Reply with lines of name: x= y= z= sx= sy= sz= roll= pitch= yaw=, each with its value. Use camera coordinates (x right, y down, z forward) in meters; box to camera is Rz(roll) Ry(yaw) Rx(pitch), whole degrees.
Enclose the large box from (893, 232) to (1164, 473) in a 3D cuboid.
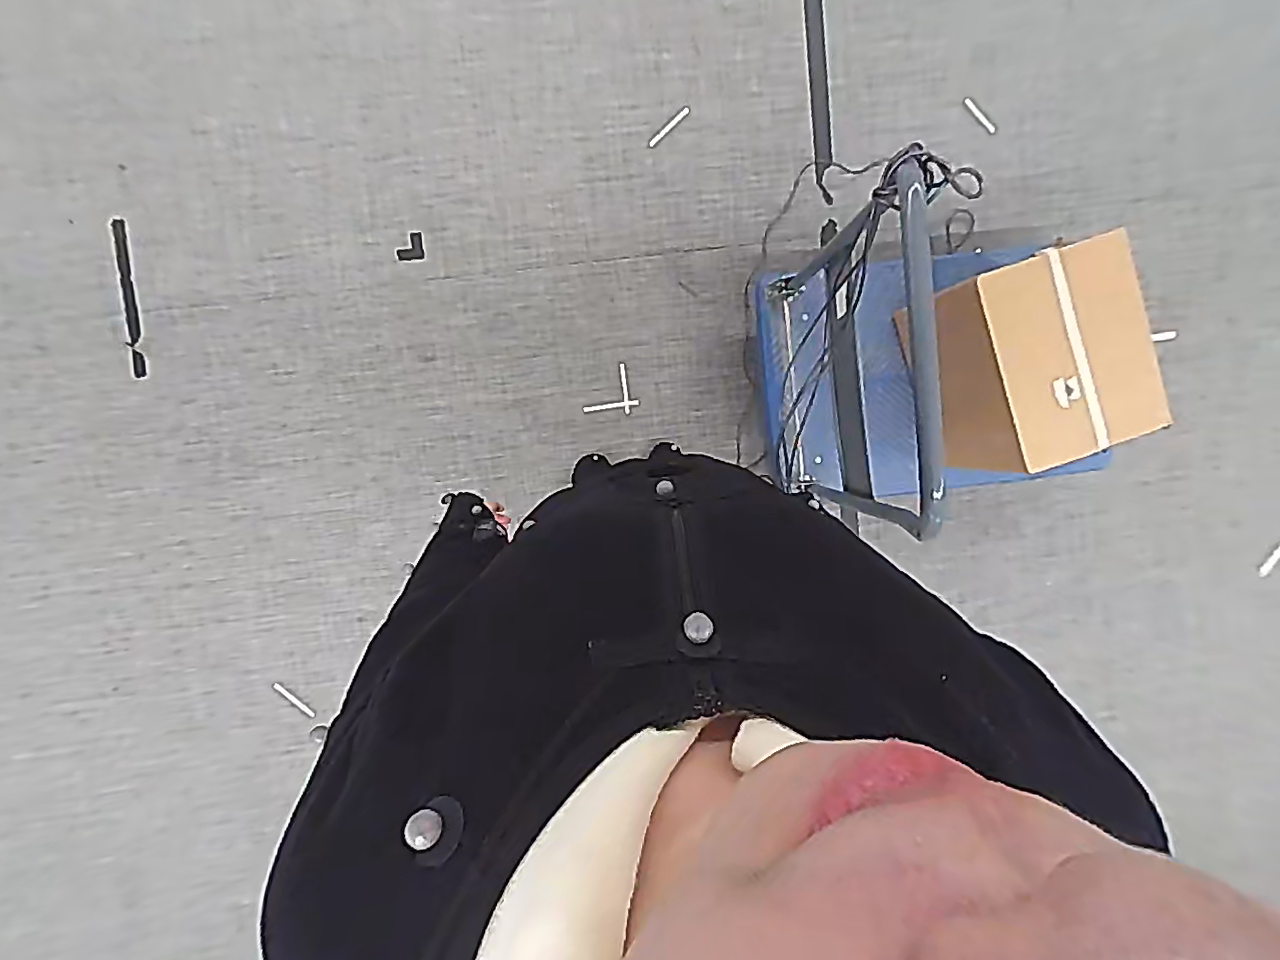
large box: x=0.832 y=-0.259 z=1.202 sx=0.320 sy=0.320 sz=0.408 roll=-19 pitch=96 yaw=-1
